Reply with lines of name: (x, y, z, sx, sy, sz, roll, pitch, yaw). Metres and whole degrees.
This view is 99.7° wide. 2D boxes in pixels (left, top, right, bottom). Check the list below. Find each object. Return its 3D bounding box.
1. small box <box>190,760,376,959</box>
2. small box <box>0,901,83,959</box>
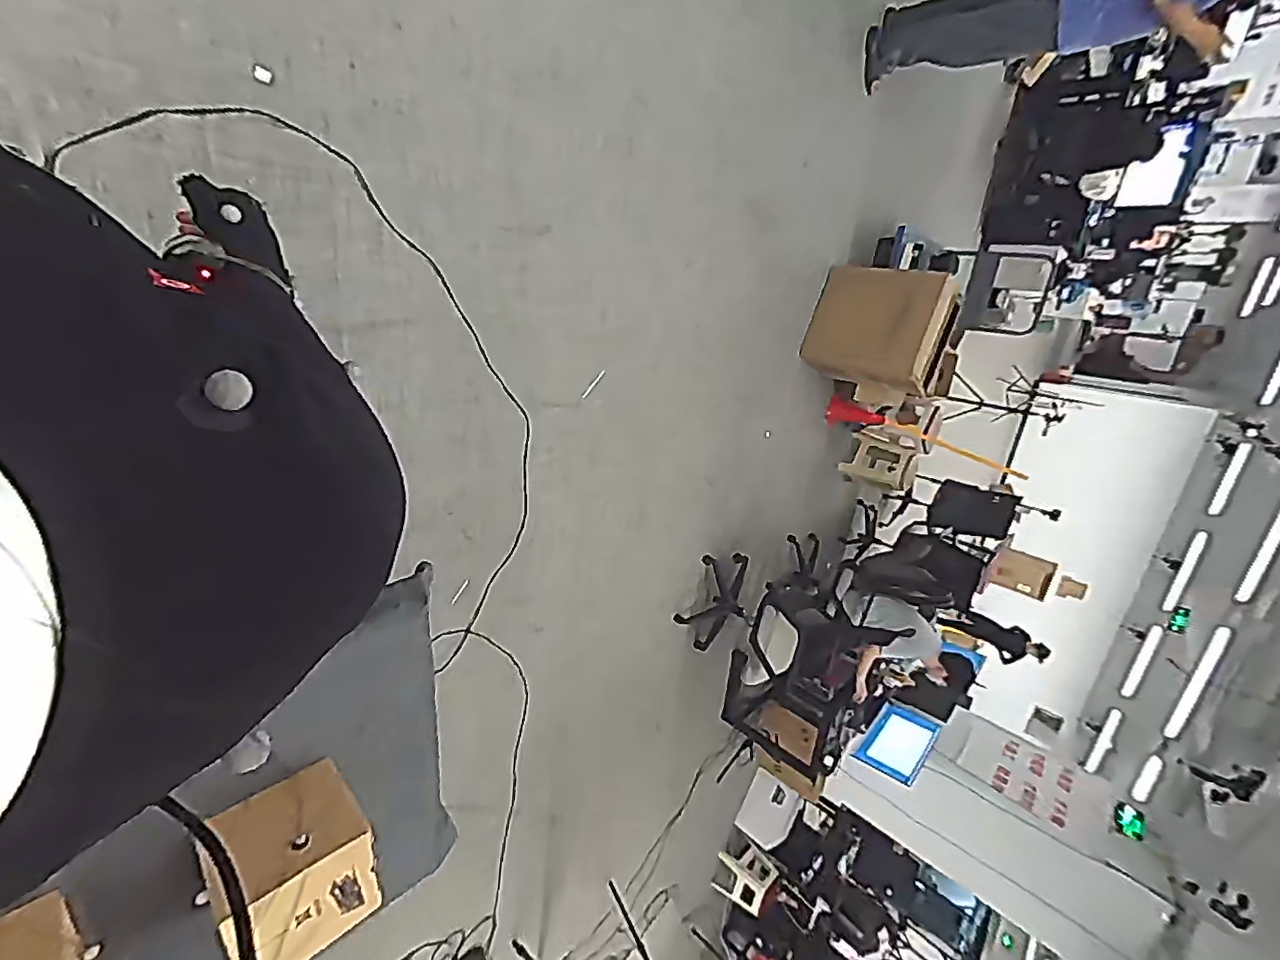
small box: (-0.509, 0.552, 0.779, 0.179, 0.176, 0.168, -17, 120, -43)
small box: (-0.709, 0.602, 0.571, 0.168, 0.176, 0.179, -15, 118, -45)
